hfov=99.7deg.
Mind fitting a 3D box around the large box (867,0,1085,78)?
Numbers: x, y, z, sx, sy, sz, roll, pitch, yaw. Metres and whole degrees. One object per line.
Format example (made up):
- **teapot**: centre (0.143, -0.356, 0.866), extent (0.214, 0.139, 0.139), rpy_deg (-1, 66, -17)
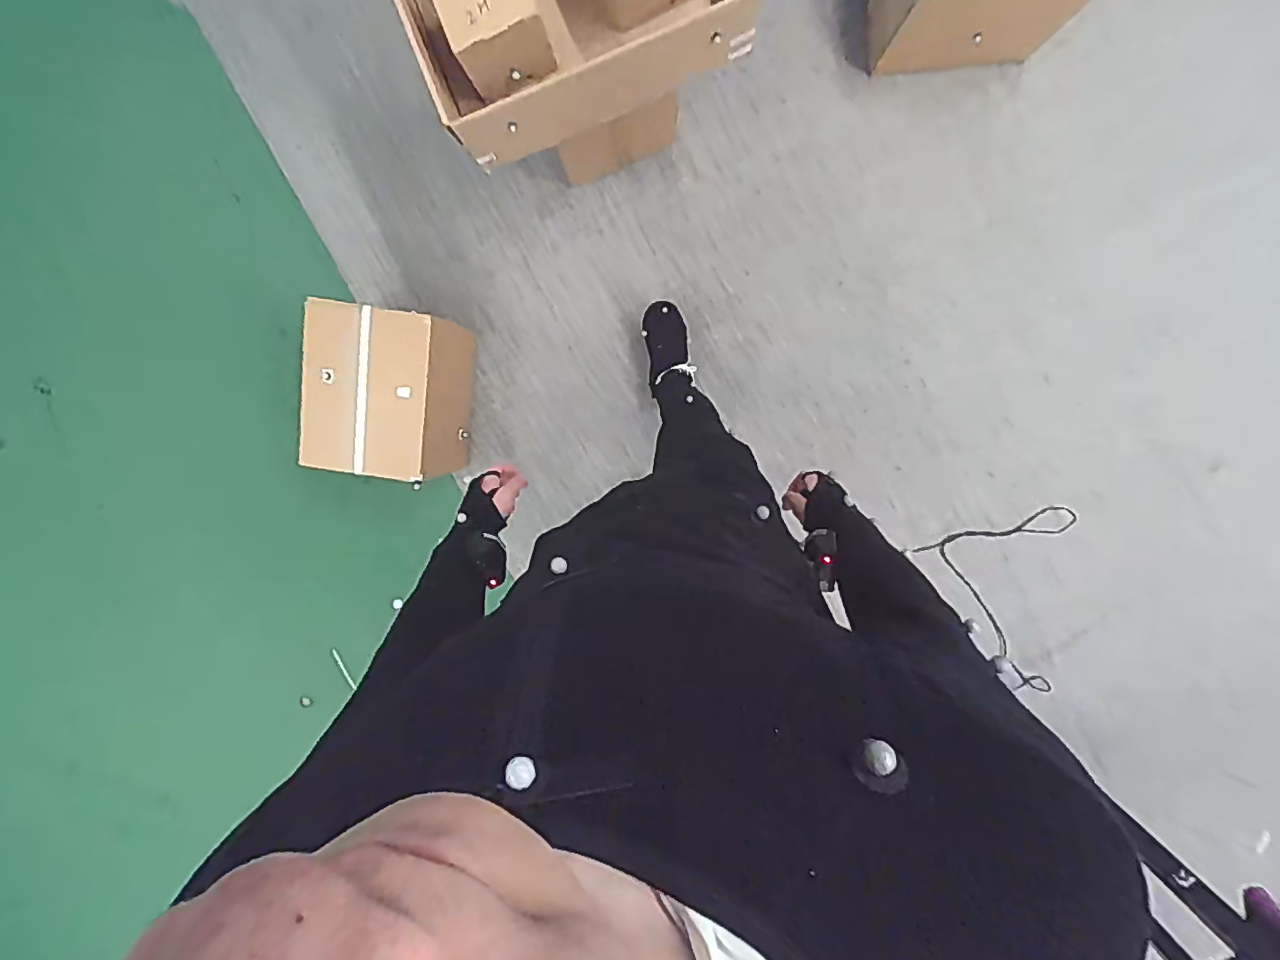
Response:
- **large box**: centre (0.776, -1.193, 1.239), extent (0.408, 0.320, 0.320), rpy_deg (-4, 98, 4)
